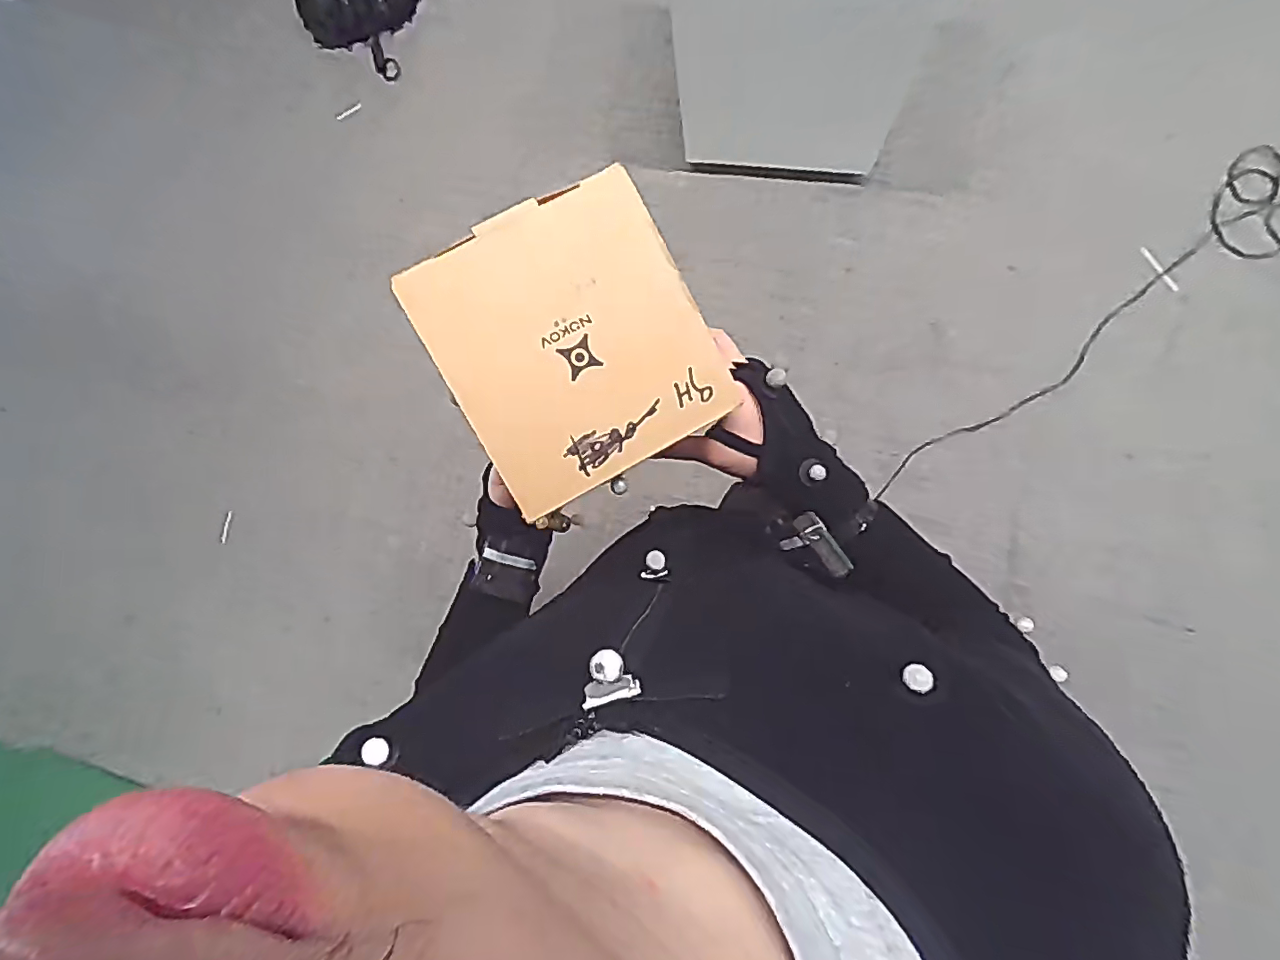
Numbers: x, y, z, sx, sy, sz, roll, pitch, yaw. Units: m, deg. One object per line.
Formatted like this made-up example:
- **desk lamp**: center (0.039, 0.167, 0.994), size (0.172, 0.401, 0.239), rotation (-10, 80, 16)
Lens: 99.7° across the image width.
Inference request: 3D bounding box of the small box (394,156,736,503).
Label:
- **small box**: center (-0.054, -0.101, 0.426), size (0.168, 0.176, 0.179), rotation (-28, 97, -4)
